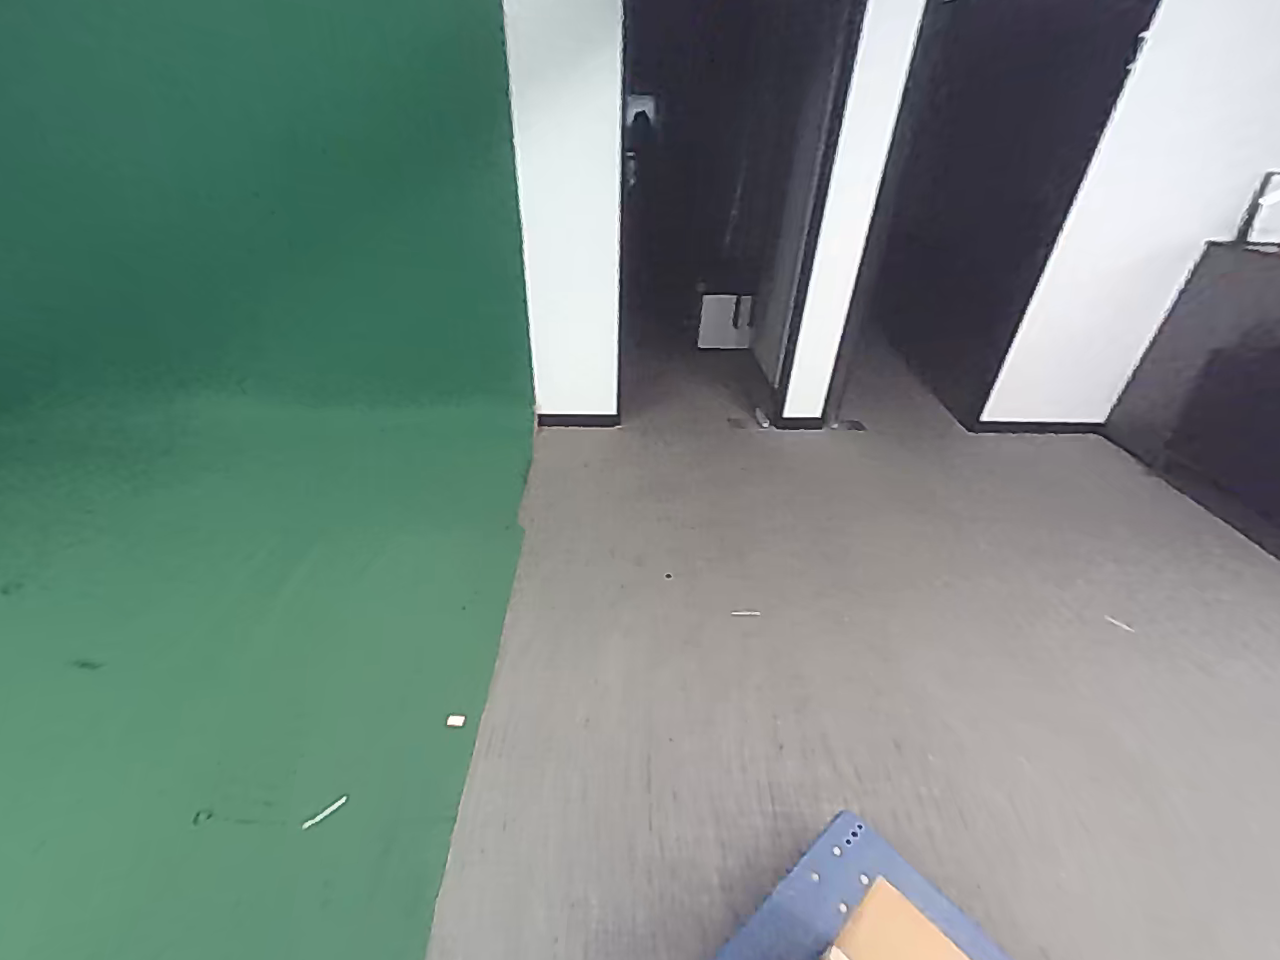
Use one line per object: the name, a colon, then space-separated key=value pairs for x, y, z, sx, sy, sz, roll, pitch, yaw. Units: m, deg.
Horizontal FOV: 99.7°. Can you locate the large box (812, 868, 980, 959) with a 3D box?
large box: x=0.423 y=0.921 z=0.801 sx=0.320 sy=0.320 sz=0.408 roll=-26 pitch=42 yaw=-34
